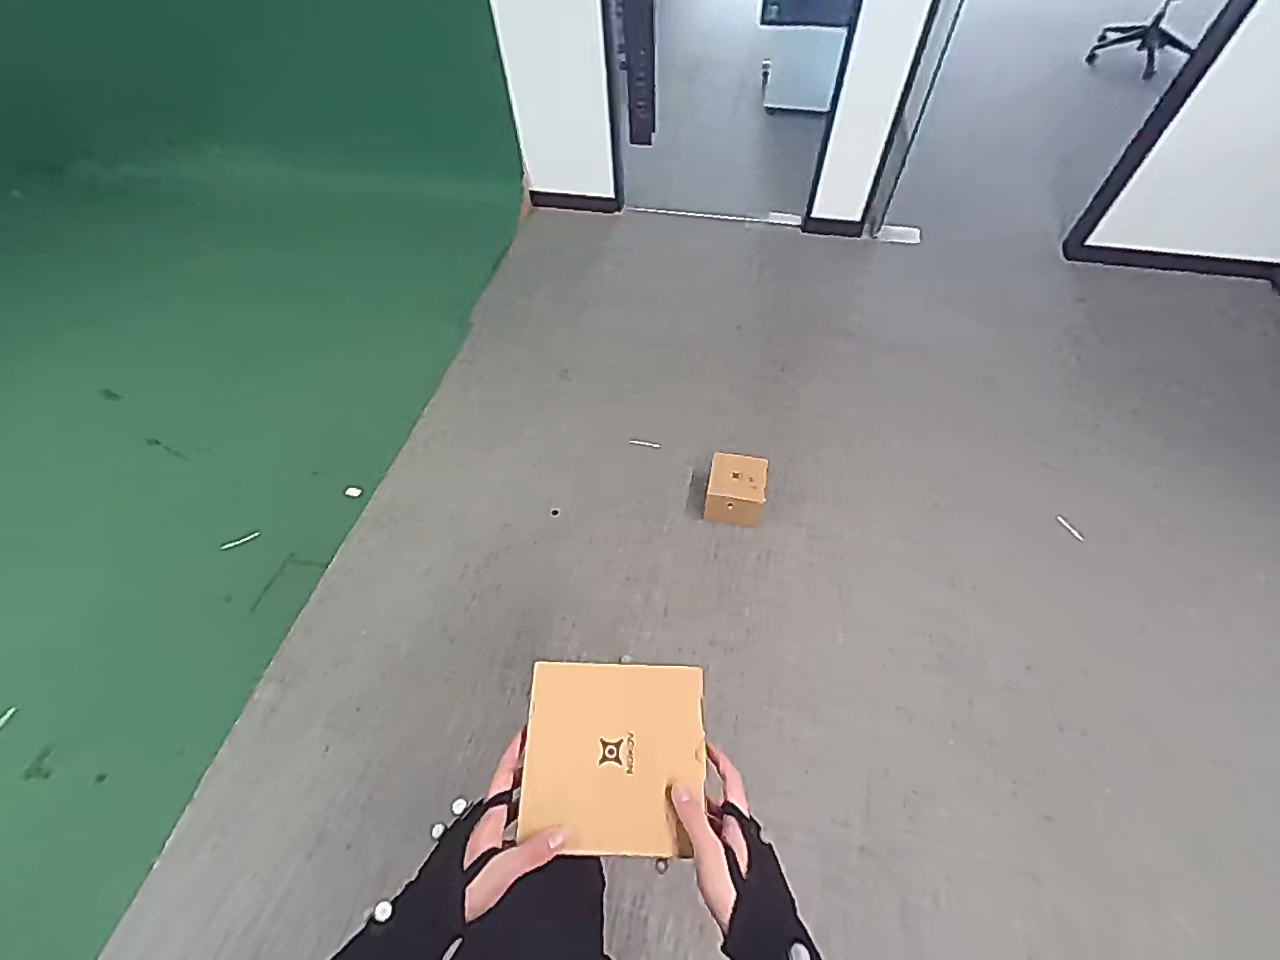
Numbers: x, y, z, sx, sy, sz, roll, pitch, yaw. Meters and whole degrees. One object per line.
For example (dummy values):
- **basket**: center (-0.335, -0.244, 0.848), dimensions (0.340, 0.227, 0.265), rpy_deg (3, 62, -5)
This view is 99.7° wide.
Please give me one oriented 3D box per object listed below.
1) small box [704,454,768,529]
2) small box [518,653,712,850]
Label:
- **small box**: center (0.307, 0.041, 1.745), dimensions (0.179, 0.176, 0.168), rpy_deg (10, 58, 8)
- **small box**: center (-0.024, 0.293, 0.586), dimensions (0.179, 0.176, 0.168), rpy_deg (4, 60, -3)
